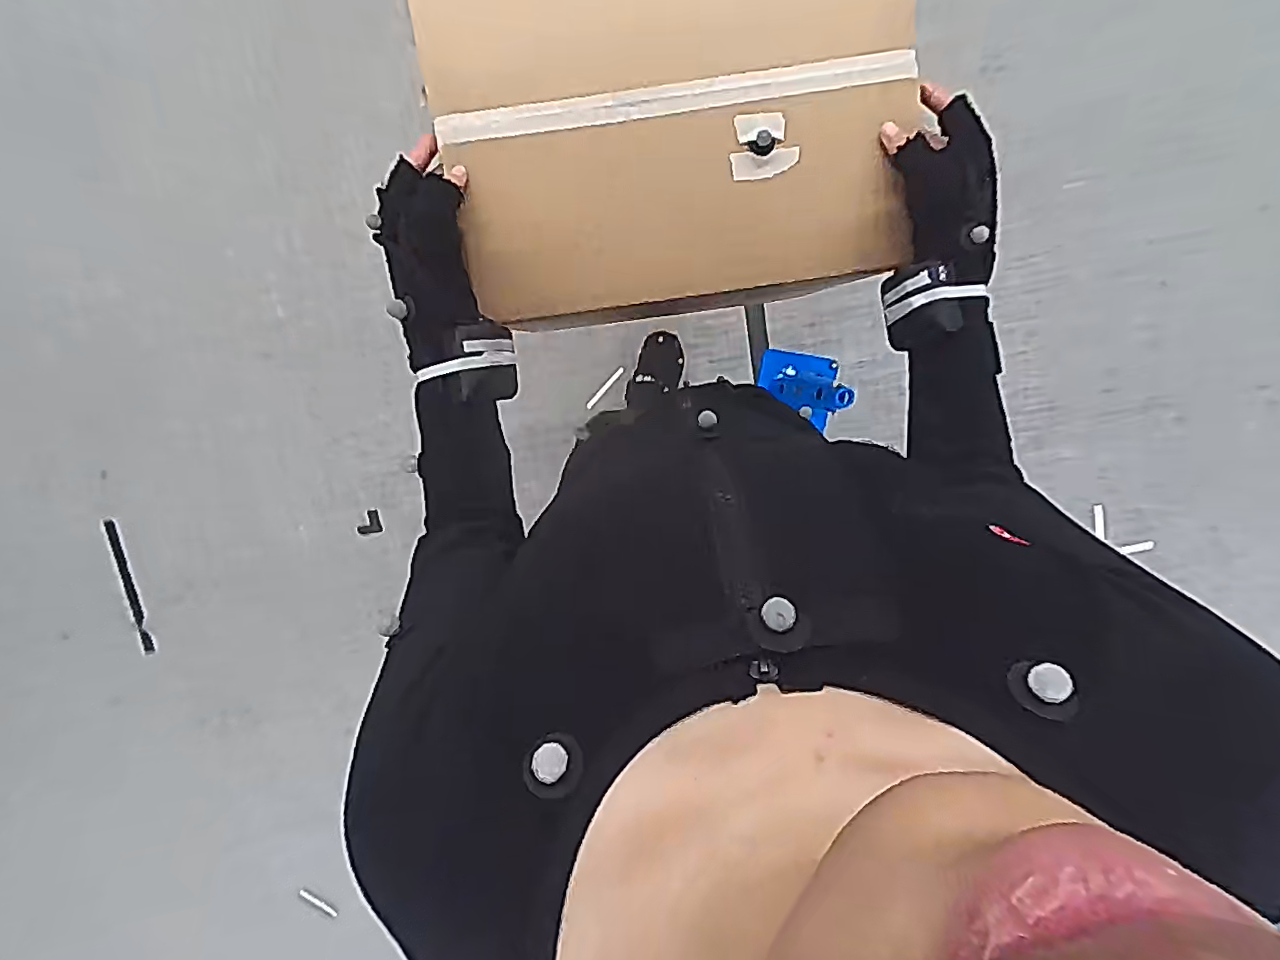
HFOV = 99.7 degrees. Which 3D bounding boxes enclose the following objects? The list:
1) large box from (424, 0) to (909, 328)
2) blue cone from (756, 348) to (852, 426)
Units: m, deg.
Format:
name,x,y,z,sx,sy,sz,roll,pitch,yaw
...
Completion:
name,x,y,z,sx,sy,sz,roll,pitch,yaw
large box,0.024,-0.363,0.608,0.408,0.320,0.320,-8,104,-1
blue cone,0.409,-0.217,1.268,0.193,0.380,0.192,10,100,-2
